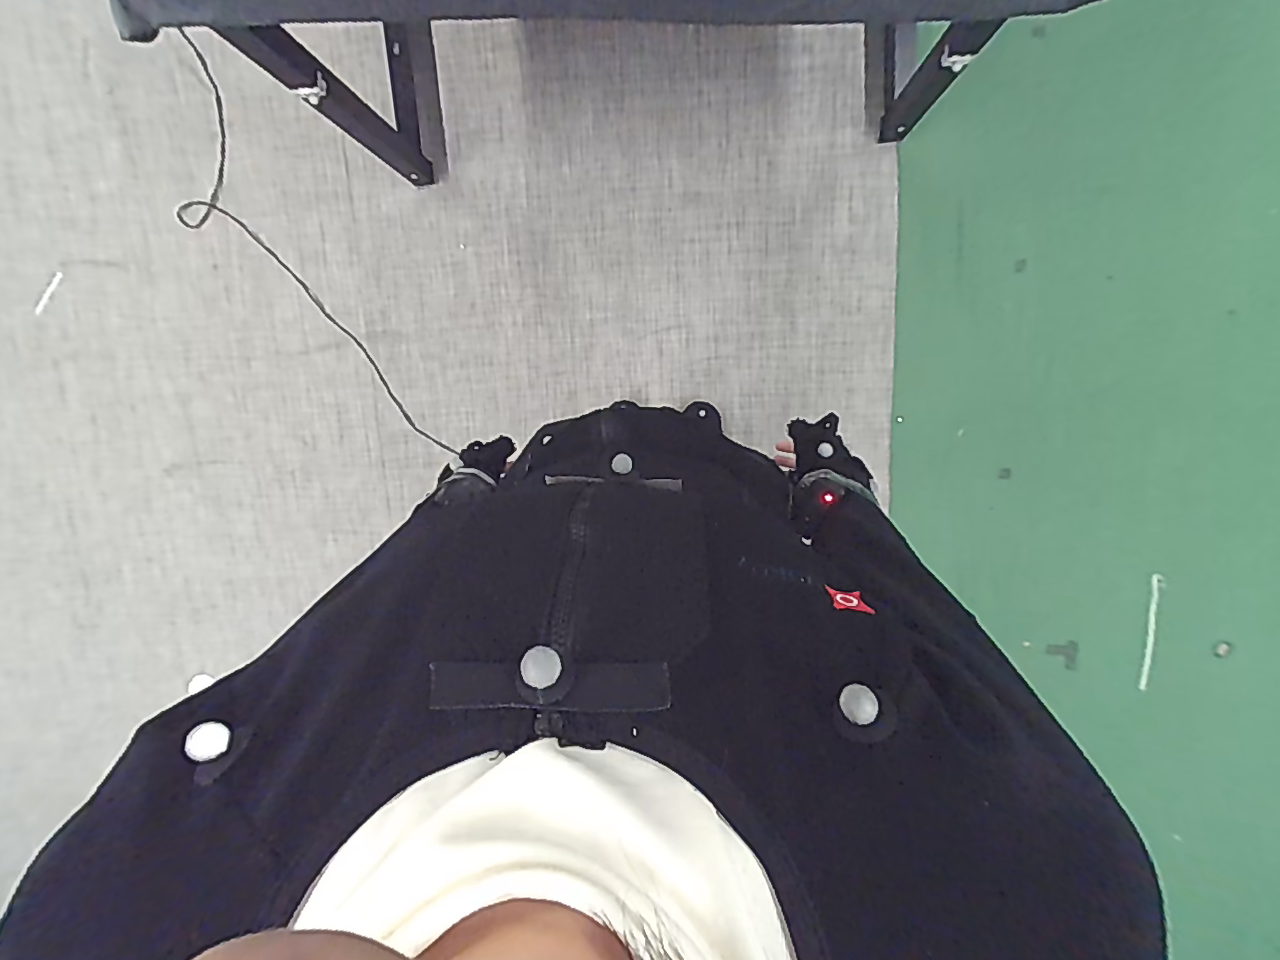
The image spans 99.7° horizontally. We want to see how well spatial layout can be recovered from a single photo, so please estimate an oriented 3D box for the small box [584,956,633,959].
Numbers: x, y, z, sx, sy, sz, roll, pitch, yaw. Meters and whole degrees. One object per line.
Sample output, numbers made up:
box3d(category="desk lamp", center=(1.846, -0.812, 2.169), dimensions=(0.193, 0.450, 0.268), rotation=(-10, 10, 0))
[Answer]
box3d(category="small box", center=(-0.106, 1.575, 1.619), dimensions=(0.179, 0.176, 0.168), rotation=(-4, 101, 4))
